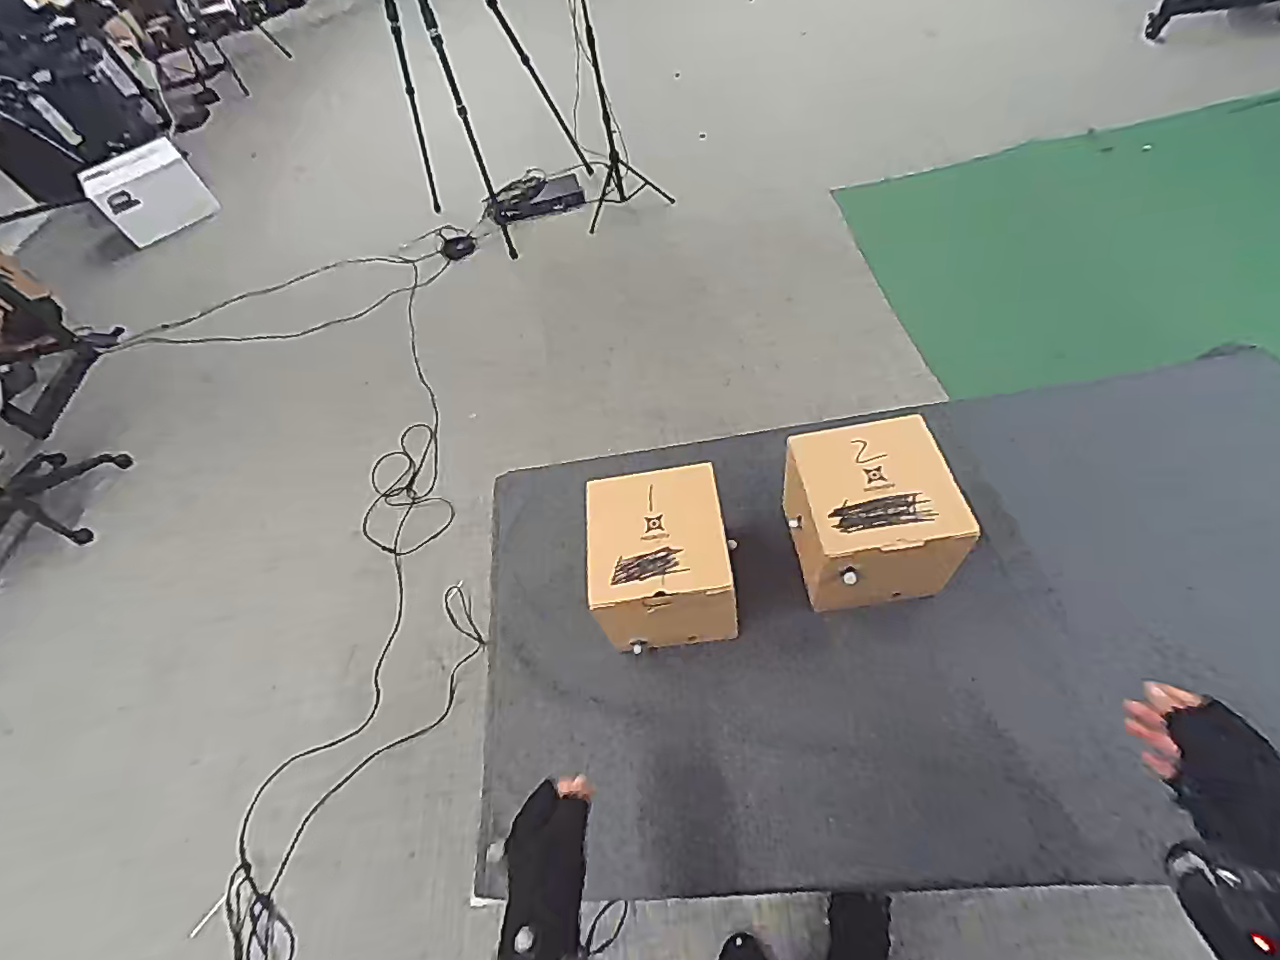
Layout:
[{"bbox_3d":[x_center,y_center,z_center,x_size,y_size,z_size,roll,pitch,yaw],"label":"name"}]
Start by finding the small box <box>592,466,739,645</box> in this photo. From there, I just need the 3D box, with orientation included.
[{"bbox_3d":[0.036,0.109,0.718,0.168,0.176,0.179,-9,54,6],"label":"small box"}]
